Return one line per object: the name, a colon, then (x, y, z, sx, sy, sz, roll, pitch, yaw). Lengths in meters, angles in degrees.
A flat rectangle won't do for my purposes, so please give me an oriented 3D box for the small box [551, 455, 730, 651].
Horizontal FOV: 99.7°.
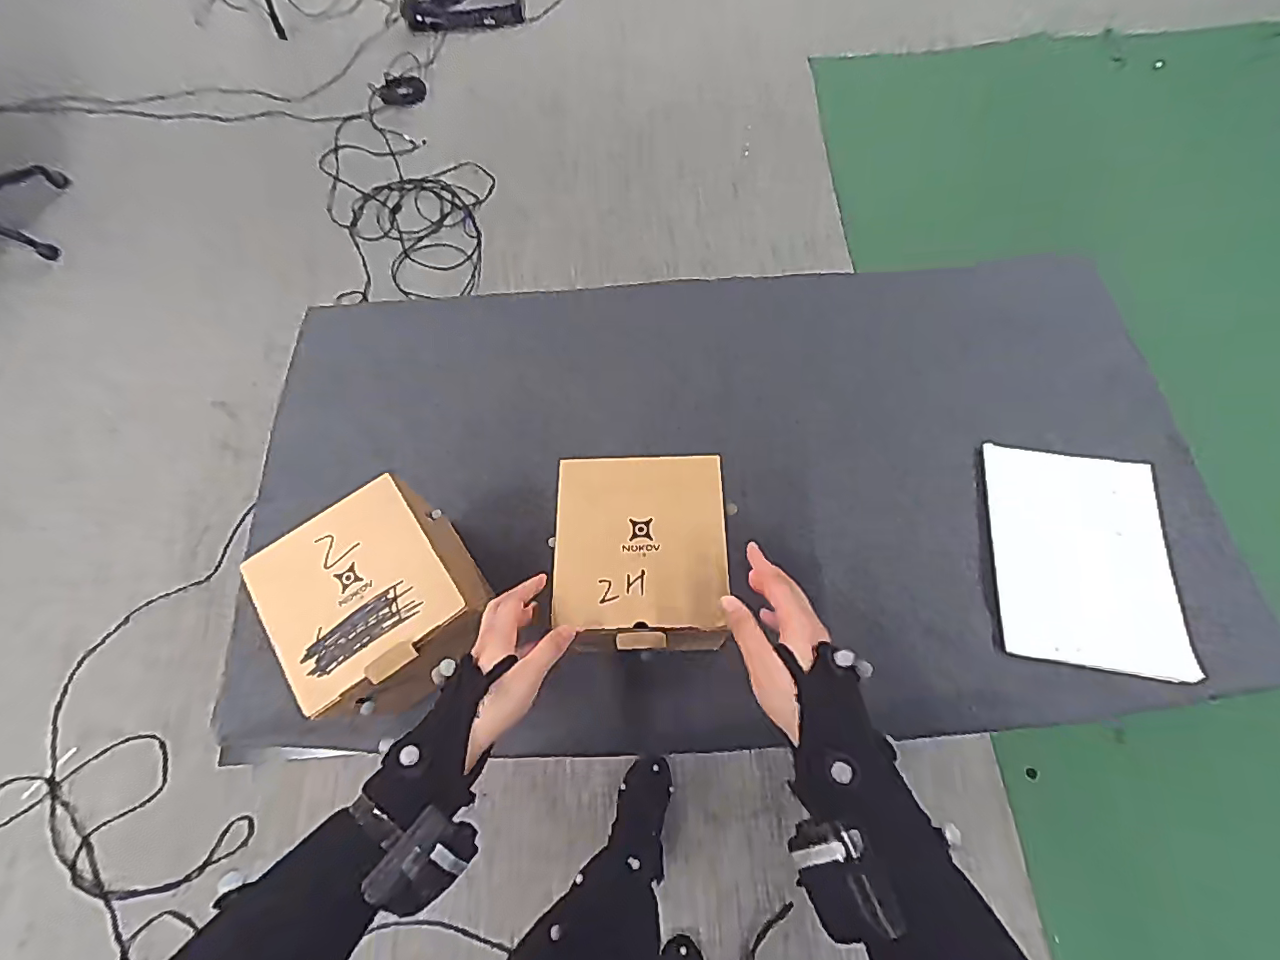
small box: (0.004, 0.087, 0.596, 0.168, 0.176, 0.179, -2, 67, 3)
